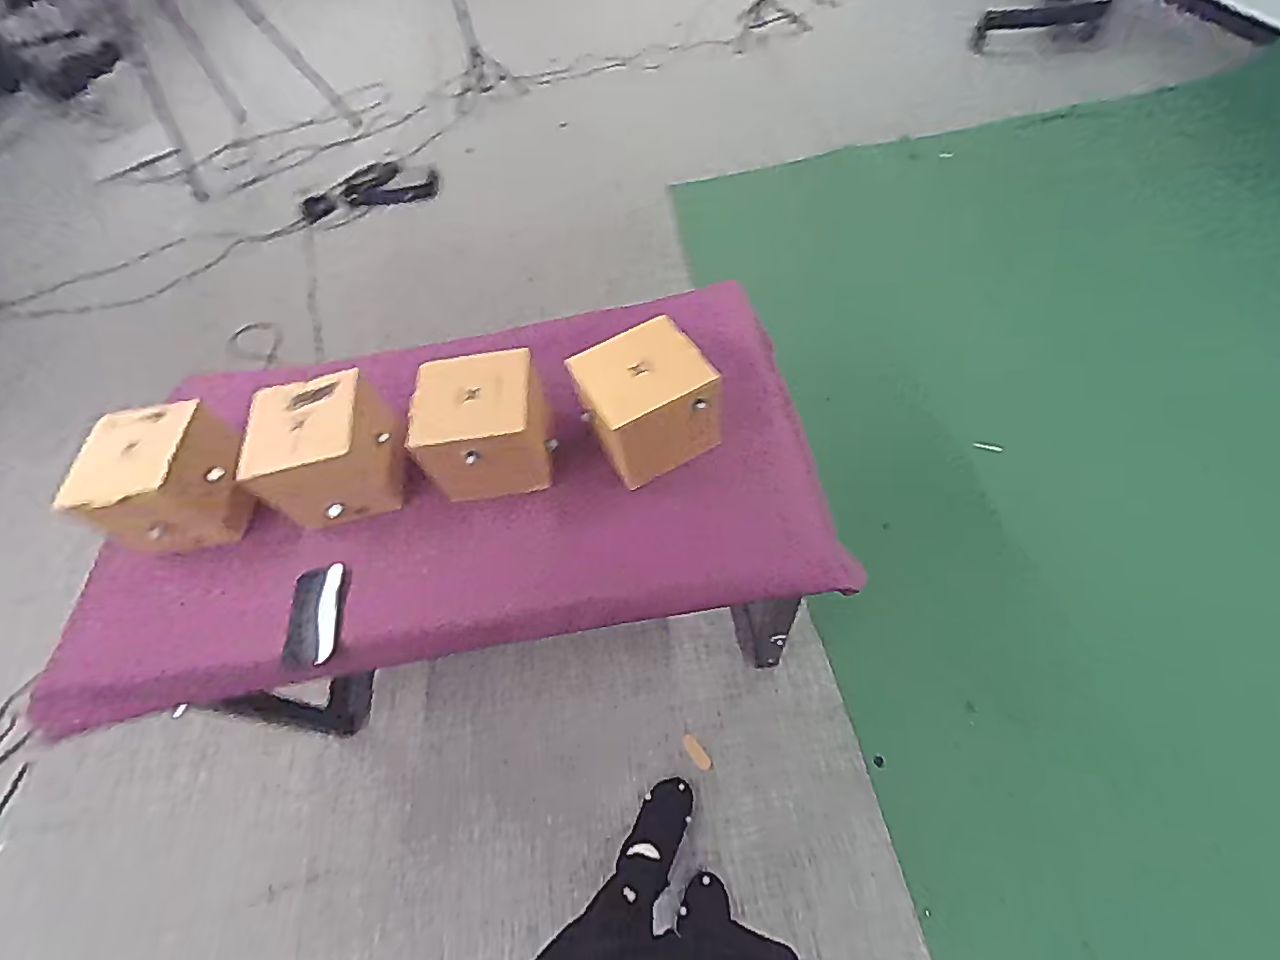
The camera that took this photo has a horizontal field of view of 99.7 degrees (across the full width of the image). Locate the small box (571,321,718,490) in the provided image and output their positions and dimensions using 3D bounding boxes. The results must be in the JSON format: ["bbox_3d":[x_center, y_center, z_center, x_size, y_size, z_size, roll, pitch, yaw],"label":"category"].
[{"bbox_3d":[0.014,-0.114,0.867,0.179,0.176,0.168,-27,57,-10],"label":"small box"}]

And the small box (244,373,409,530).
[{"bbox_3d":[-0.499,-0.043,0.892,0.168,0.176,0.179,-13,57,-1],"label":"small box"}]

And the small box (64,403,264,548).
[{"bbox_3d":[-0.763,0.001,0.899,0.168,0.176,0.179,-9,57,2],"label":"small box"}]

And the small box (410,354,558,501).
[{"bbox_3d":[-0.242,-0.078,0.880,0.179,0.176,0.168,-6,57,3],"label":"small box"}]
